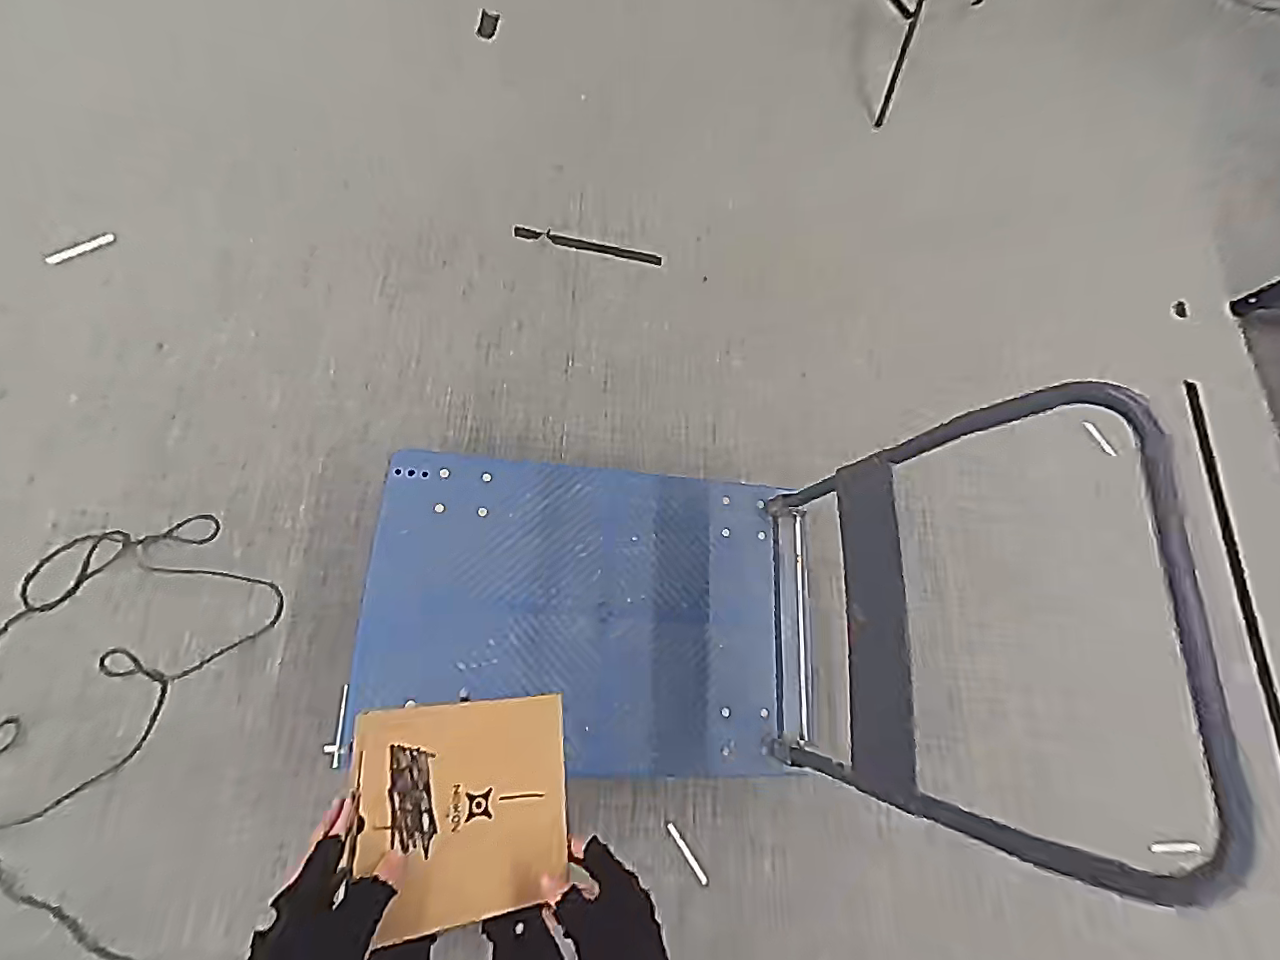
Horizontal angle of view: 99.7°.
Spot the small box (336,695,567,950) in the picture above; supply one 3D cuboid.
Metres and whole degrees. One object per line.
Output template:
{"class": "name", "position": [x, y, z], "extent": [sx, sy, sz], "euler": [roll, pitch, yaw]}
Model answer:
{"class": "small box", "position": [-0.180, 0.300, 0.514], "extent": [0.179, 0.176, 0.168], "euler": [8, 65, -27]}
